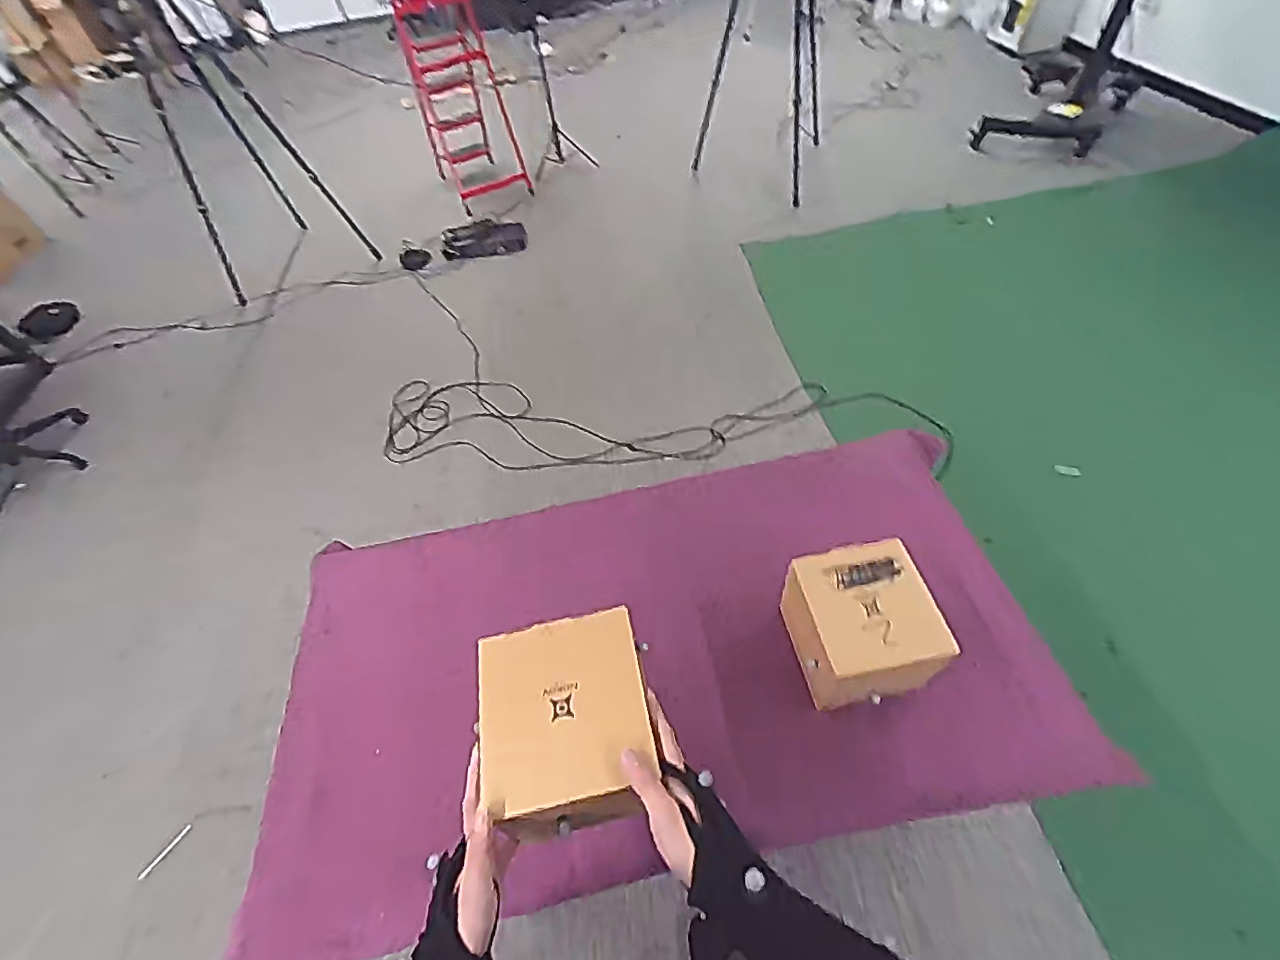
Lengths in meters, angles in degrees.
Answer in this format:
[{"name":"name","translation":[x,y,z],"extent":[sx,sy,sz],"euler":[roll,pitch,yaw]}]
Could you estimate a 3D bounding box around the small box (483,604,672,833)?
[{"name":"small box","translation":[-0.065,0.265,0.590],"extent":[0.168,0.176,0.179],"euler":[-12,50,-4]}]
